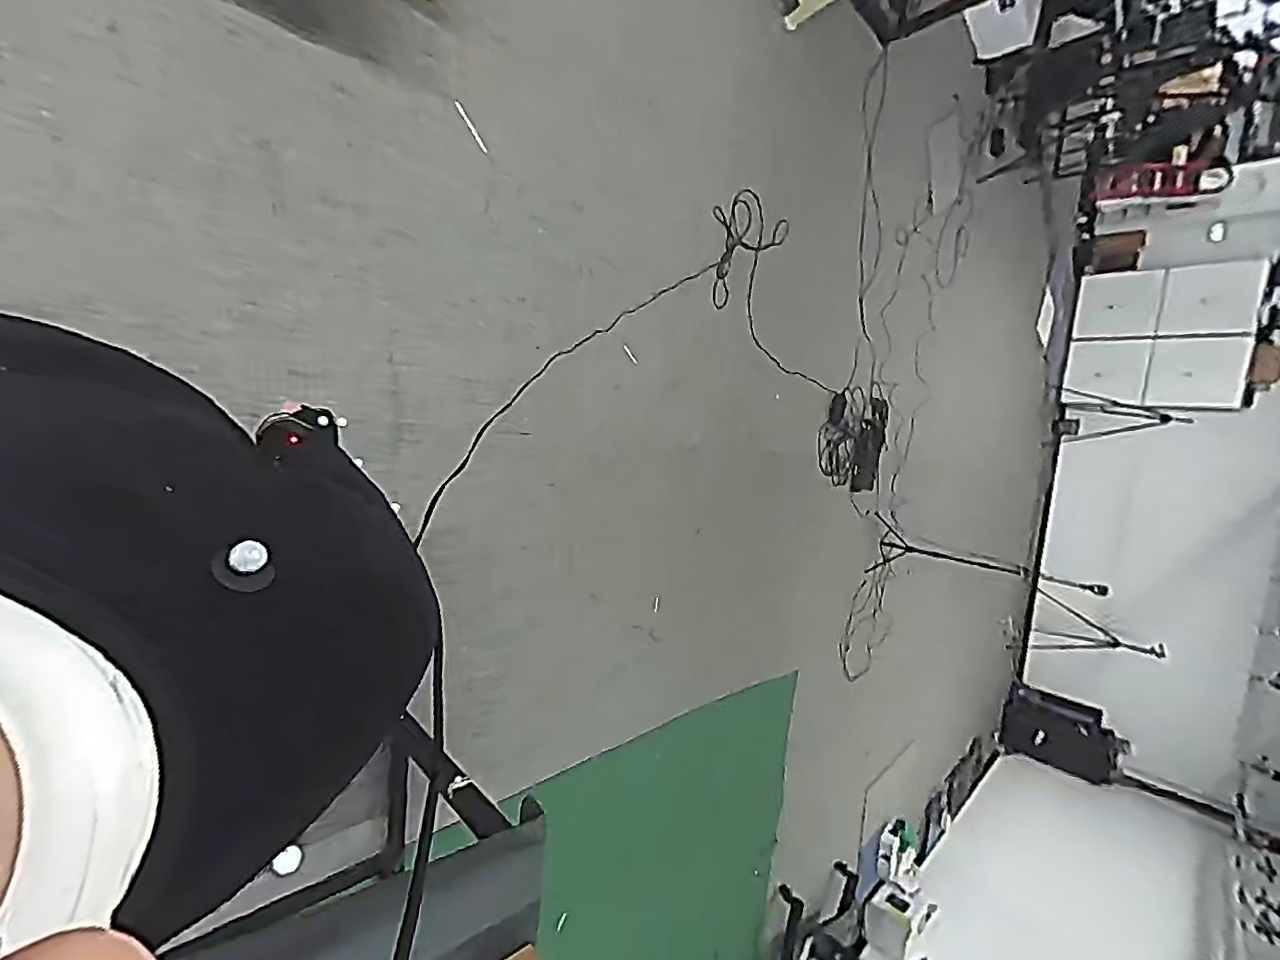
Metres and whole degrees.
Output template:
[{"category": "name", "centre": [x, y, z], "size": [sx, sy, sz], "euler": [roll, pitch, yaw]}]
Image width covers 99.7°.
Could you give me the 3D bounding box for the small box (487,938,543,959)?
[{"category": "small box", "centre": [-0.266, 1.074, 1.062], "size": [0.179, 0.176, 0.168], "euler": [5, 97, -45]}]
